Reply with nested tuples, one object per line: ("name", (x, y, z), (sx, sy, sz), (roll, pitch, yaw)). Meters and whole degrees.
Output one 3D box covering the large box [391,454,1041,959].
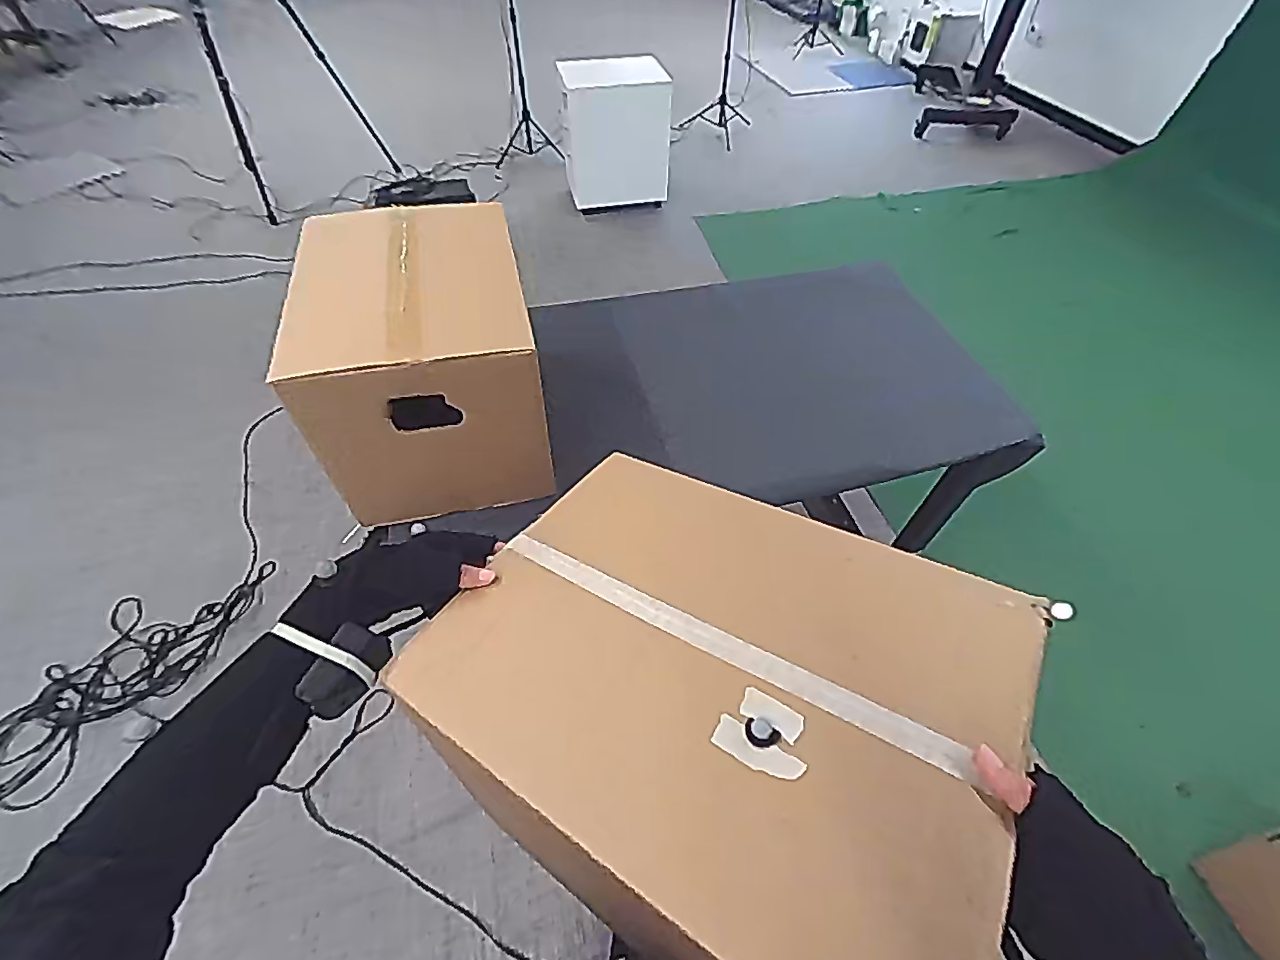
("large box", (0.067, 0.229, 0.504), (0.408, 0.320, 0.320), (21, 48, 29))
